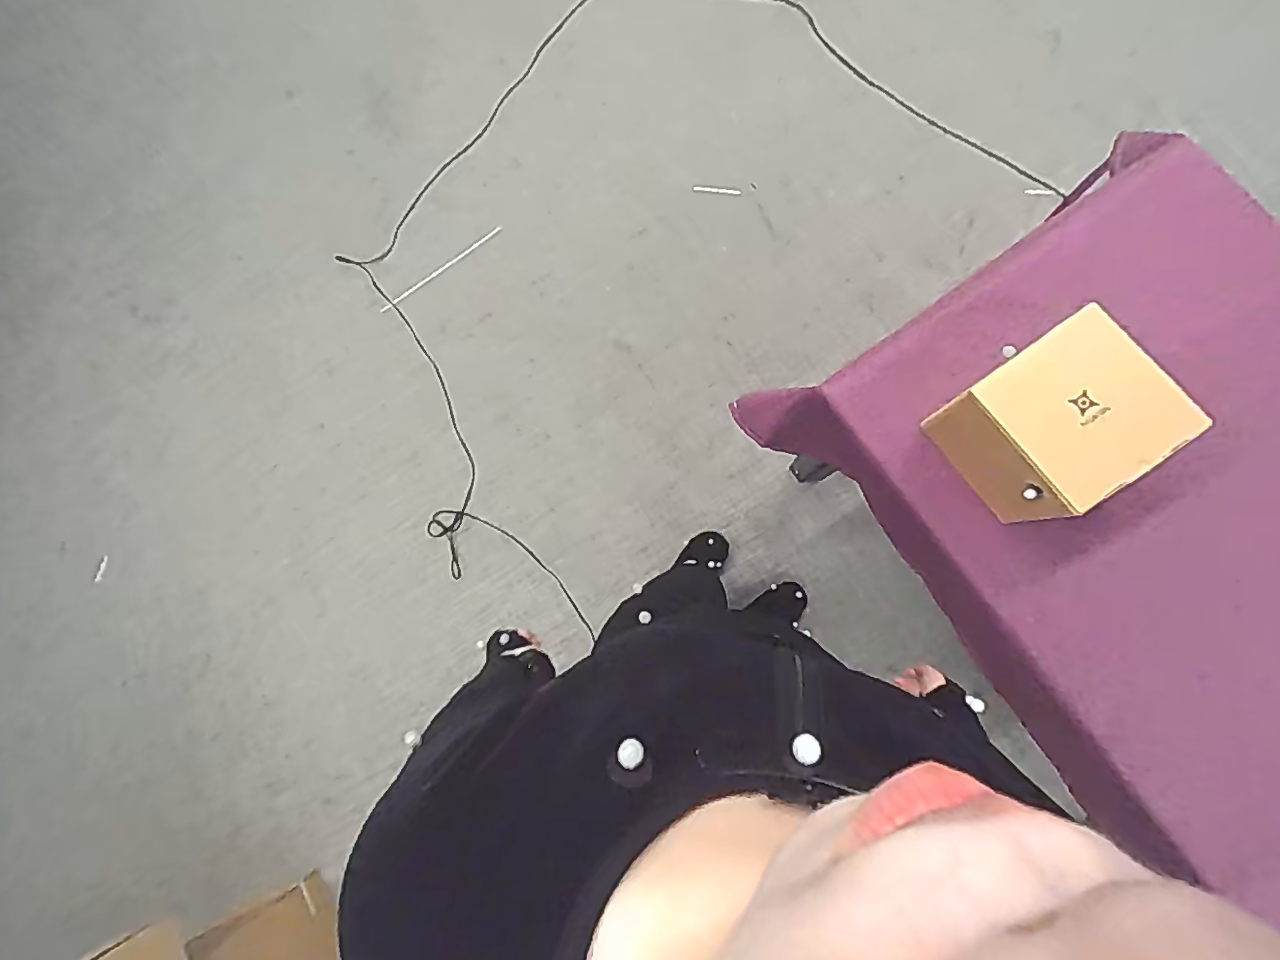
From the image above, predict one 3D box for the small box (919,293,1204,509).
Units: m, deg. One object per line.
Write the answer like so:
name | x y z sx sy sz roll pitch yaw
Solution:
small box | 0.480 -0.080 0.654 0.168 0.176 0.179 -37 79 4
